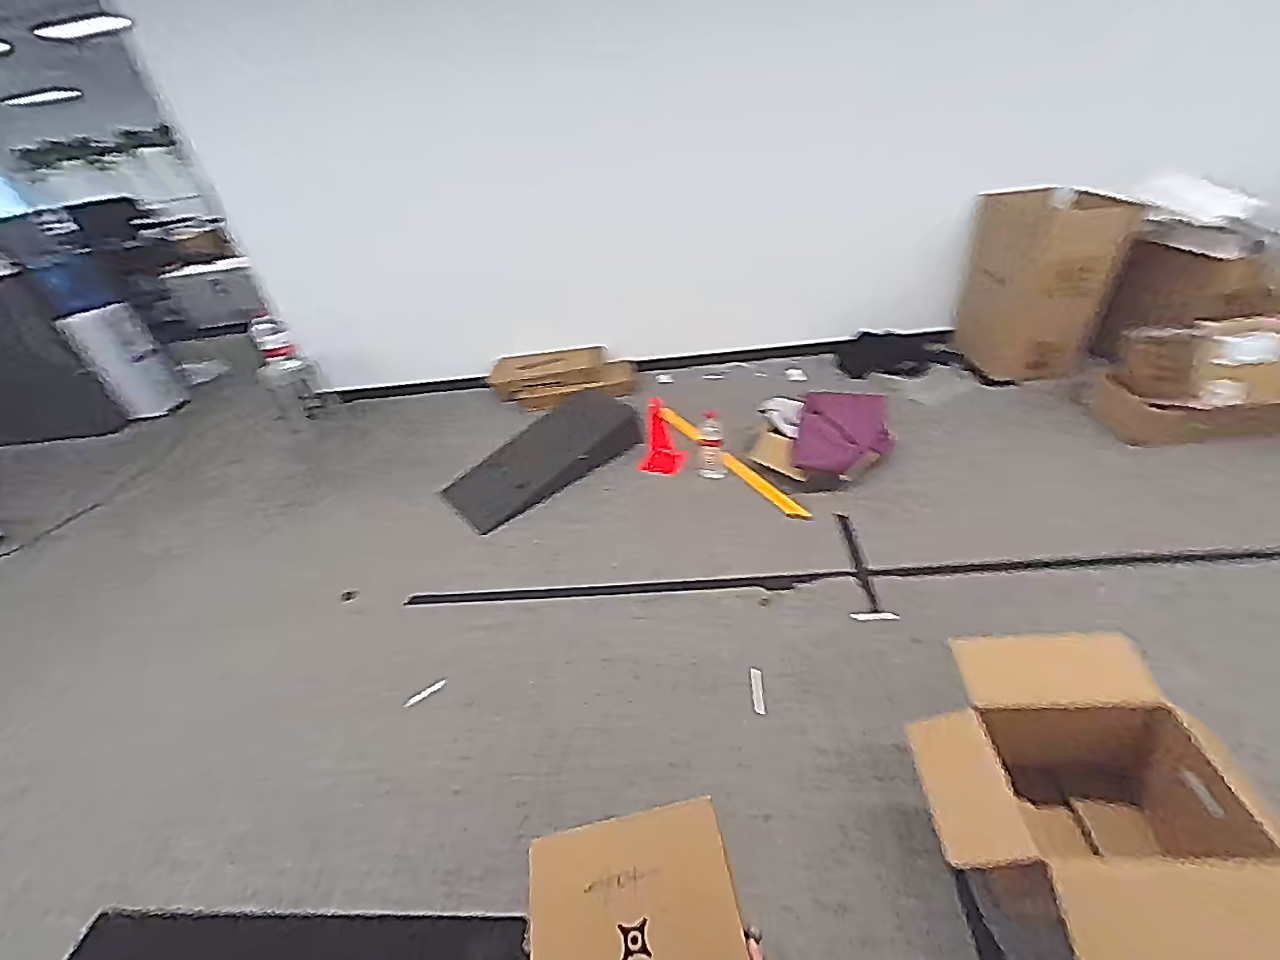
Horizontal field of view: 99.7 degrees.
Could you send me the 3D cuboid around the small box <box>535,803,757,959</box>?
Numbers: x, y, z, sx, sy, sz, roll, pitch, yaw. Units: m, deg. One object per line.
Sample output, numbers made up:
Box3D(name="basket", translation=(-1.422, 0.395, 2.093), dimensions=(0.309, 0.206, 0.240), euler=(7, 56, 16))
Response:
Box3D(name="small box", translation=(0.014, 0.413, 0.466), dimensions=(0.168, 0.176, 0.179), euler=(-14, 43, 1))
